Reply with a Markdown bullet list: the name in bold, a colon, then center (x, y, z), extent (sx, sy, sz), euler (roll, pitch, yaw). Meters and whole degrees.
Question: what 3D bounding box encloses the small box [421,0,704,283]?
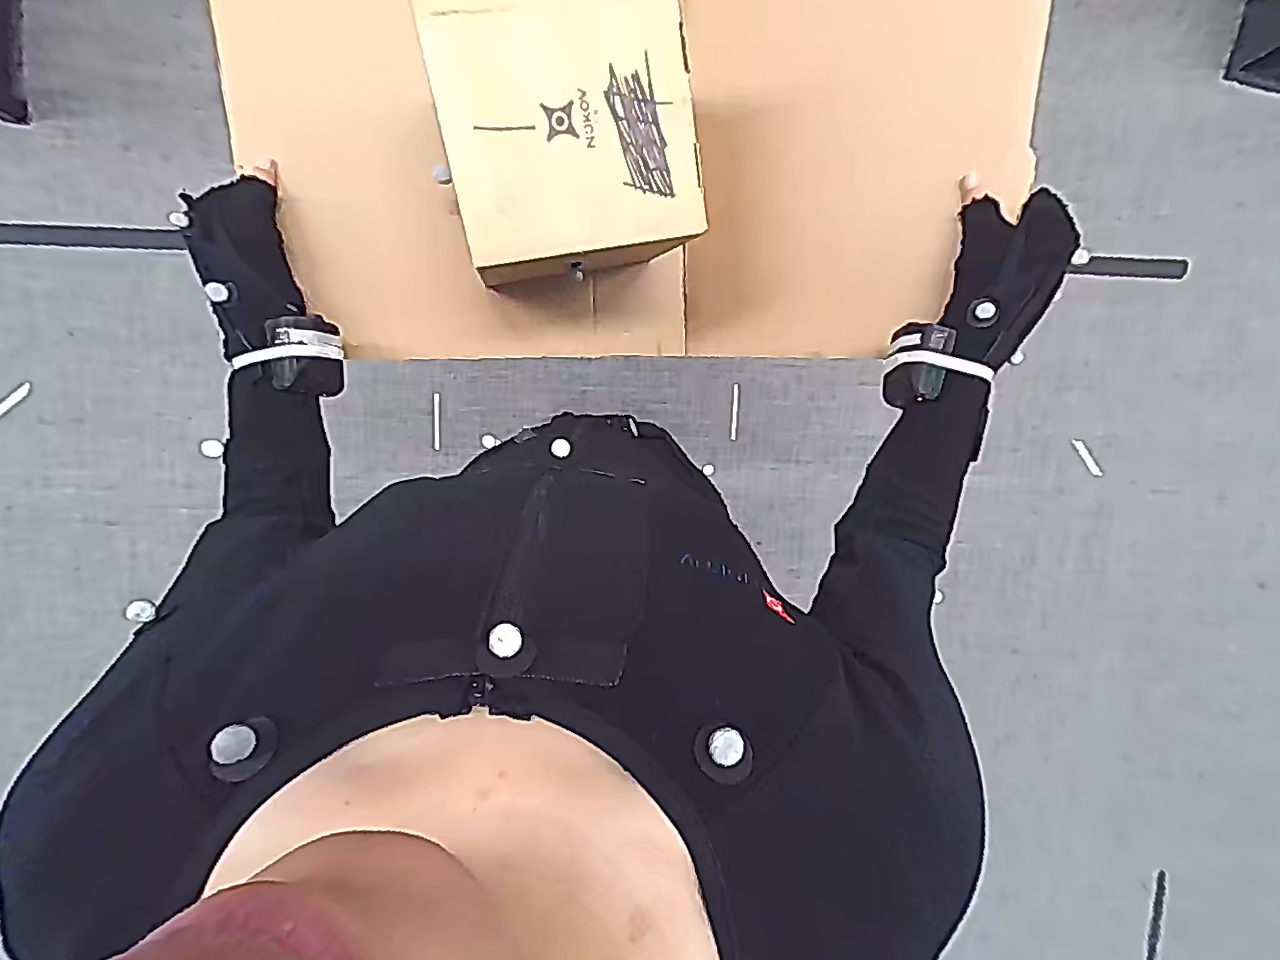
- **small box**: center (-0.063, -0.267, 0.453), extent (0.179, 0.176, 0.168), euler (-13, 108, -9)
